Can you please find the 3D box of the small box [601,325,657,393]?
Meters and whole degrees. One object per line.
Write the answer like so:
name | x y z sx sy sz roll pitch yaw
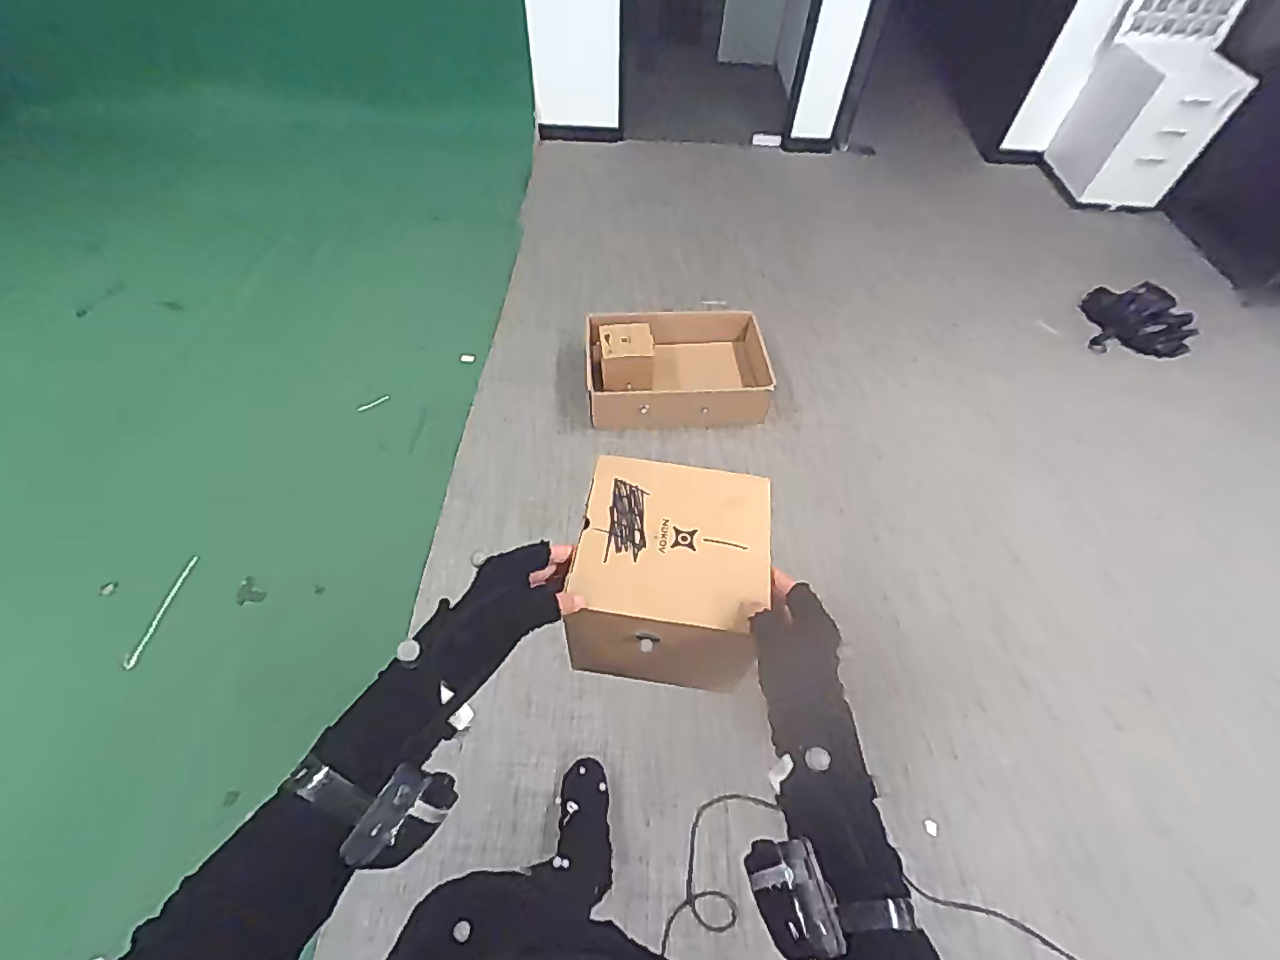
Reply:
small box | -0.043 -0.418 1.884 0.179 0.176 0.168 -4 54 -7

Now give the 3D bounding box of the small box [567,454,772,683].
small box | 0.031 0.097 0.559 0.179 0.176 0.168 8 54 2
